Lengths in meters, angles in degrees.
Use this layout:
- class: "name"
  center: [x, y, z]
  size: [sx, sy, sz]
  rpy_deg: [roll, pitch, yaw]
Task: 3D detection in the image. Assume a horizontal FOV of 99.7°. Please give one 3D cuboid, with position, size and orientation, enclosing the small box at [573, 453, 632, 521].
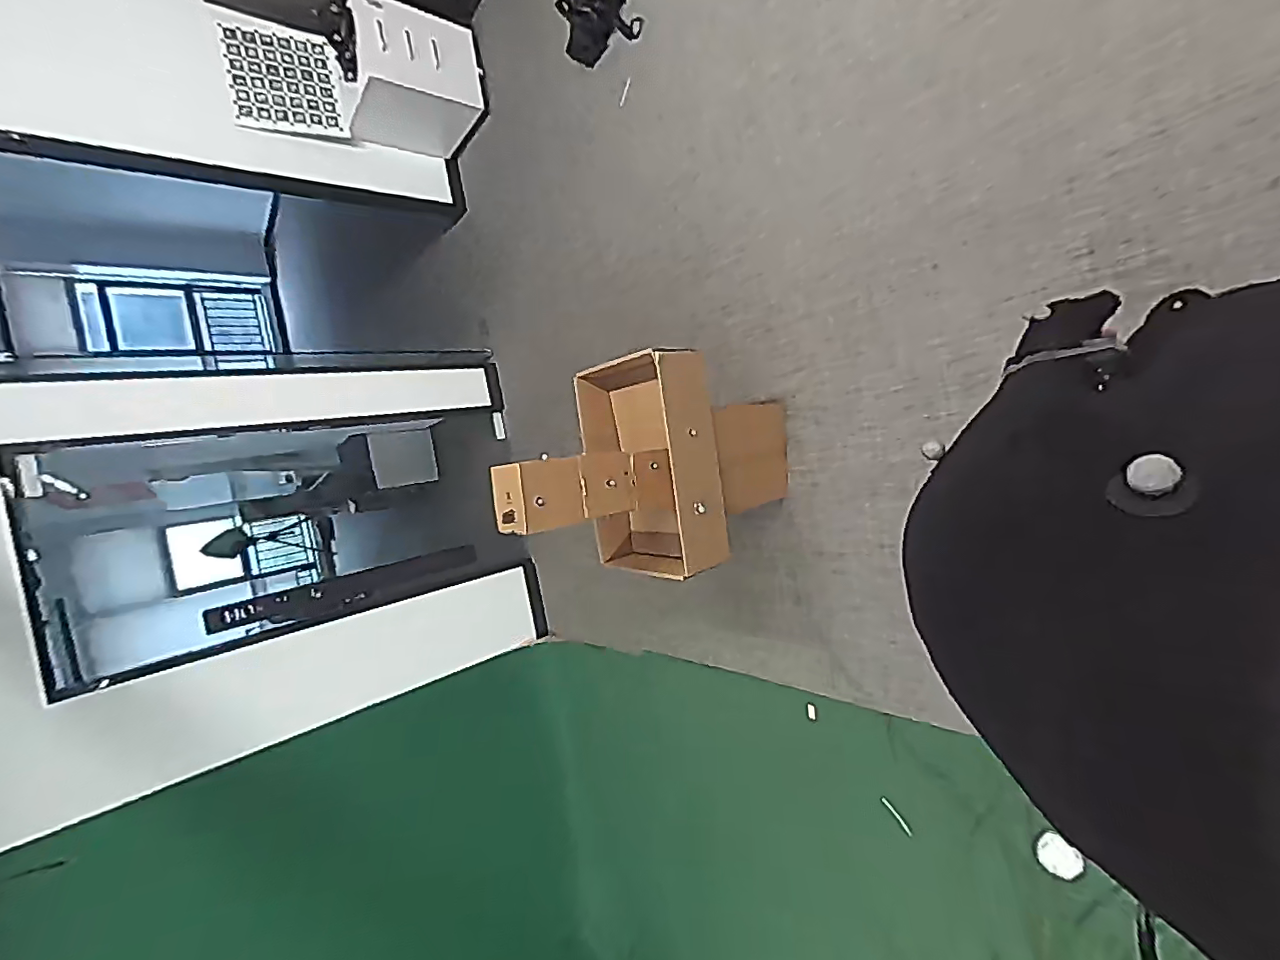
- class: "small box"
  center: [-0.134, 0.020, 1.509]
  size: [0.179, 0.176, 0.168]
  rpy_deg: [-8, 90, 50]

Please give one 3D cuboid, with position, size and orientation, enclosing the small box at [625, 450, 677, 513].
- class: "small box"
  center: [-0.003, 0.003, 1.606]
  size: [0.179, 0.176, 0.168]
  rpy_deg: [-4, 93, 53]

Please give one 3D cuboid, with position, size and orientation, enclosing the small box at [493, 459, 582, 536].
- class: "small box"
  center: [-0.263, 0.043, 1.408]
  size: [0.168, 0.176, 0.179]
  rpy_deg: [-4, 92, 51]
